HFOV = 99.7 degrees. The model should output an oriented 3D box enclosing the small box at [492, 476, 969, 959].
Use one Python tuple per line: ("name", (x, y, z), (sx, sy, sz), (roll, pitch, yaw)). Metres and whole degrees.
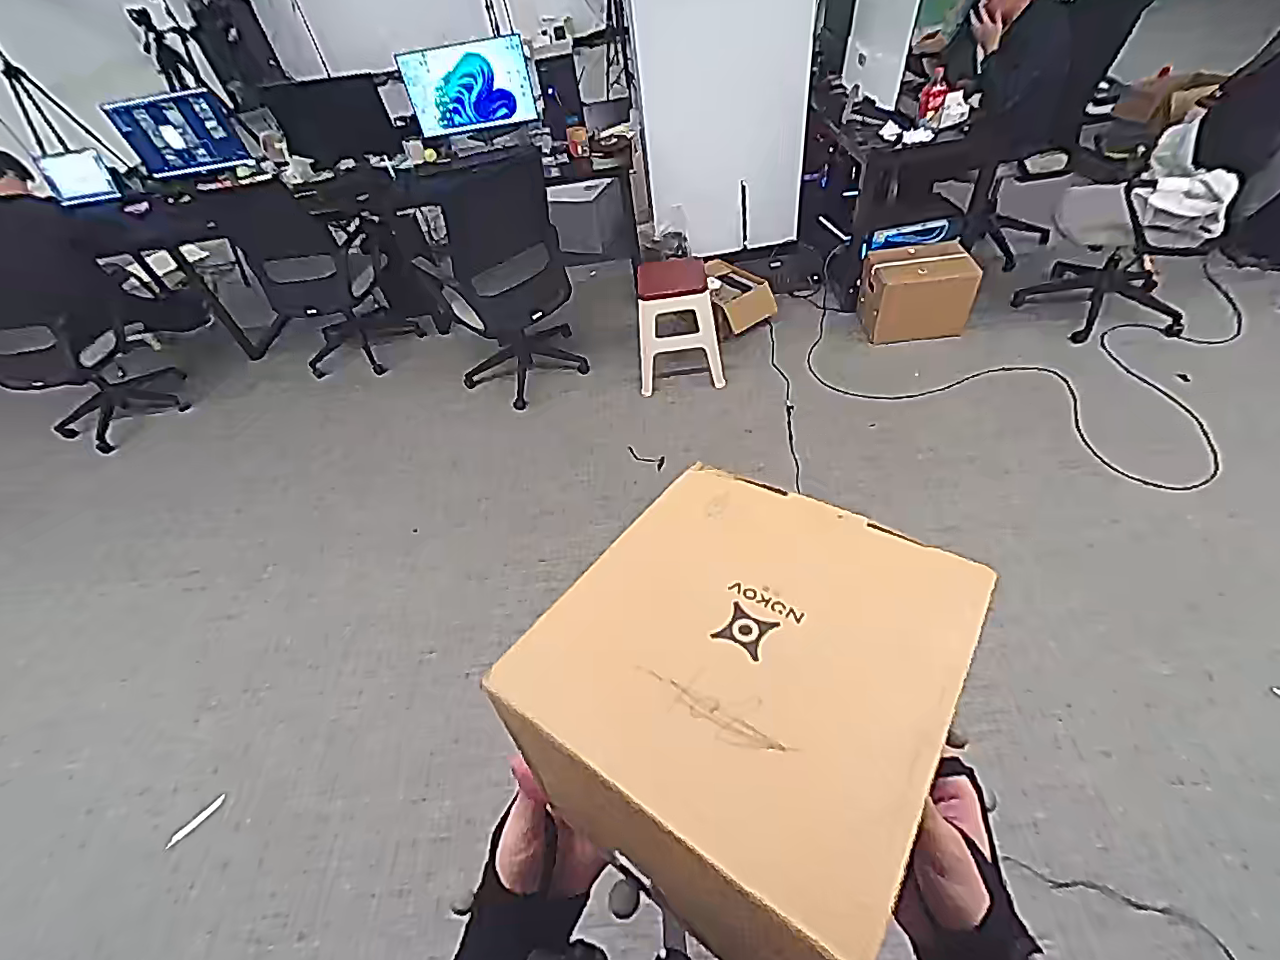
("small box", (0.053, 0.133, 0.304), (0.168, 0.176, 0.179), (21, 49, 29))
